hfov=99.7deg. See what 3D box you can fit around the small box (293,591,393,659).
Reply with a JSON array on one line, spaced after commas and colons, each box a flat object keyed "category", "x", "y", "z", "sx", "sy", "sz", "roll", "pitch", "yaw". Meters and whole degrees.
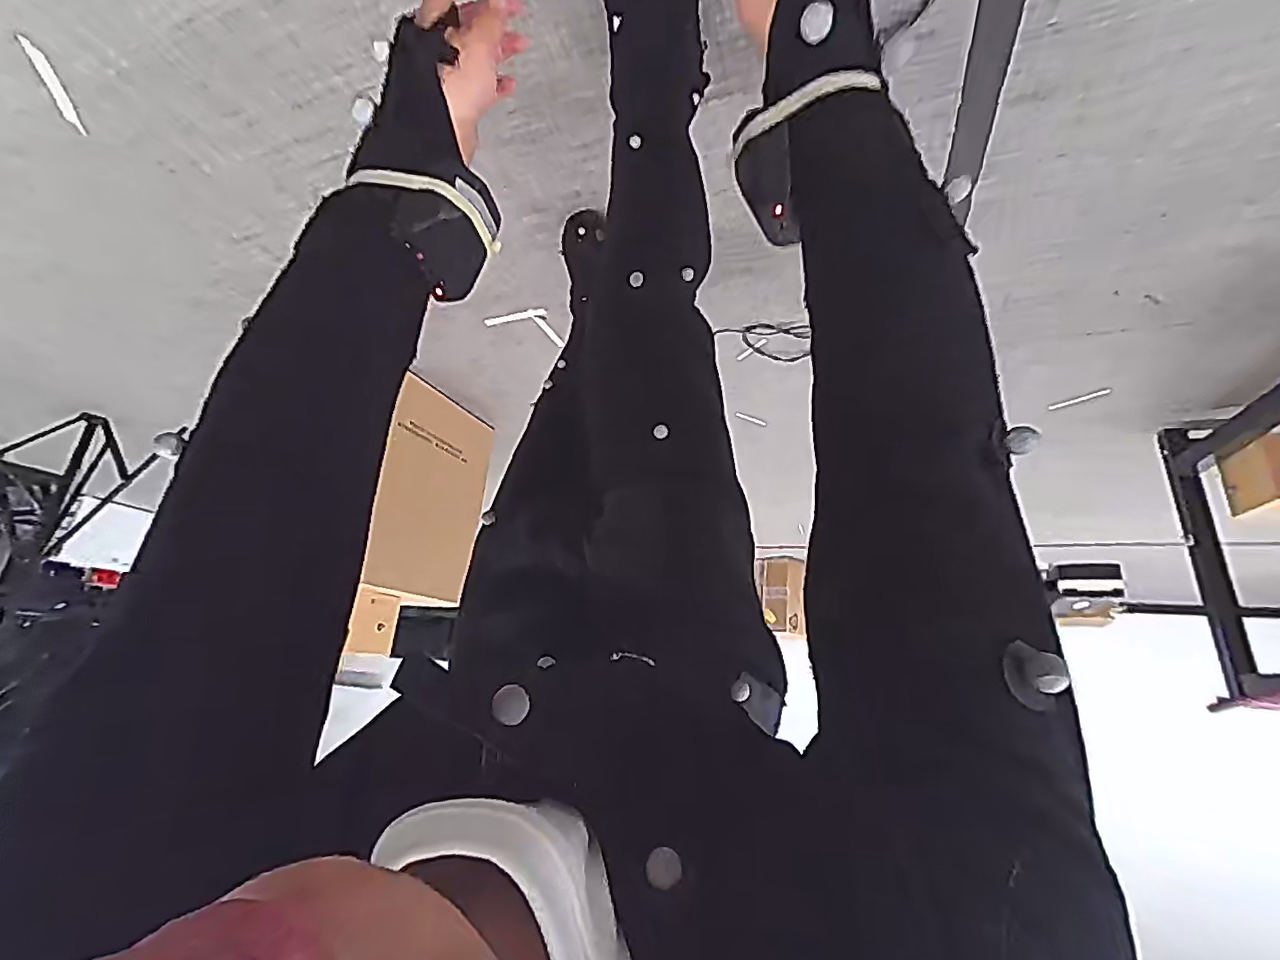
[{"category": "small box", "x": -0.818, "y": 0.405, "z": 1.512, "sx": 0.179, "sy": 0.176, "sz": 0.168, "roll": -2, "pitch": 160, "yaw": 20}]
